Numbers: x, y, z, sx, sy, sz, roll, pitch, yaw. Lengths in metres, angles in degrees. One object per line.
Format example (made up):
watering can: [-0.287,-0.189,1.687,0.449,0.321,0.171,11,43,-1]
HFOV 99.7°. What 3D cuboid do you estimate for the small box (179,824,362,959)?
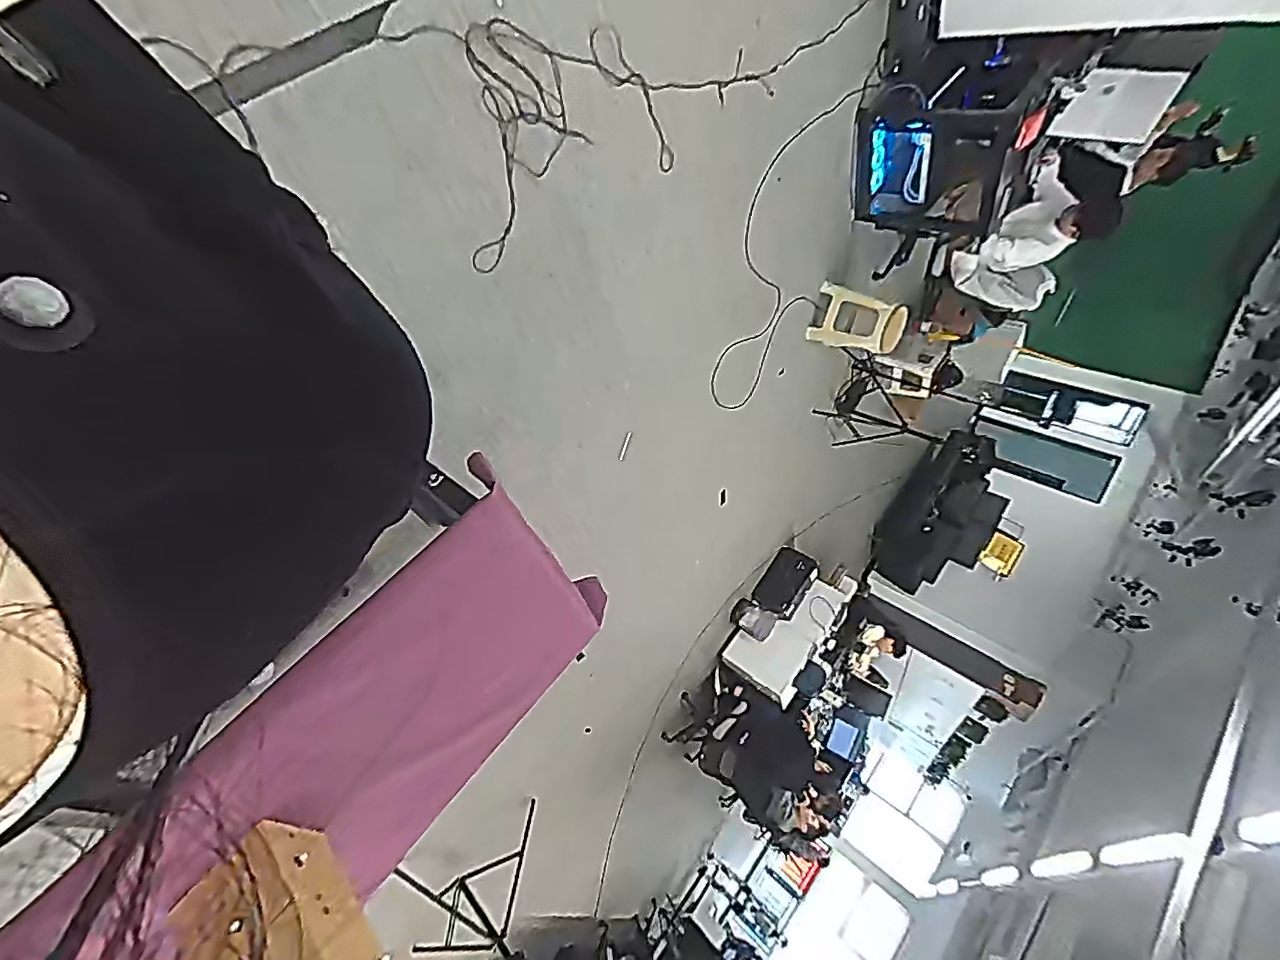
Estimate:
small box: [-0.624,0.728,0.916,0.179,0.176,0.168,-45,141,-21]
